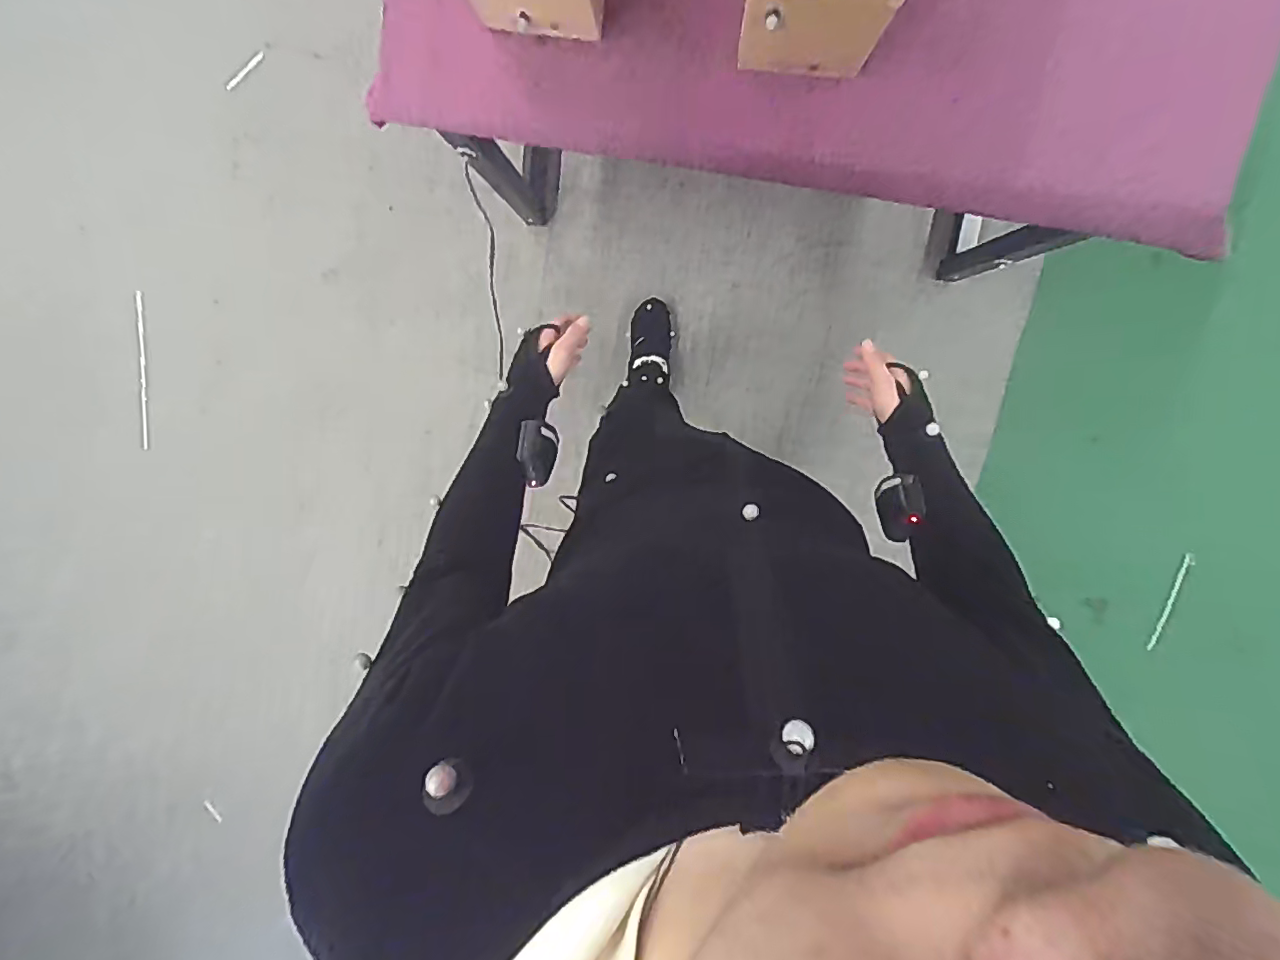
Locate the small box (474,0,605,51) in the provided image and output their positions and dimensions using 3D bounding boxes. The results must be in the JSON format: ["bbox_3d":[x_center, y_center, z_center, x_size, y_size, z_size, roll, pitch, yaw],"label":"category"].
[{"bbox_3d":[-0.131,-0.686,0.671,0.168,0.176,0.179,8,102,2],"label":"small box"}]

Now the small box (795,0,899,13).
[{"bbox_3d":[0.210,-0.594,0.501,0.168,0.176,0.179,8,101,2],"label":"small box"}]

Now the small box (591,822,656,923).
[{"bbox_3d":[-0.046,1.241,1.719,0.168,0.176,0.179,14,102,0],"label":"small box"}]
